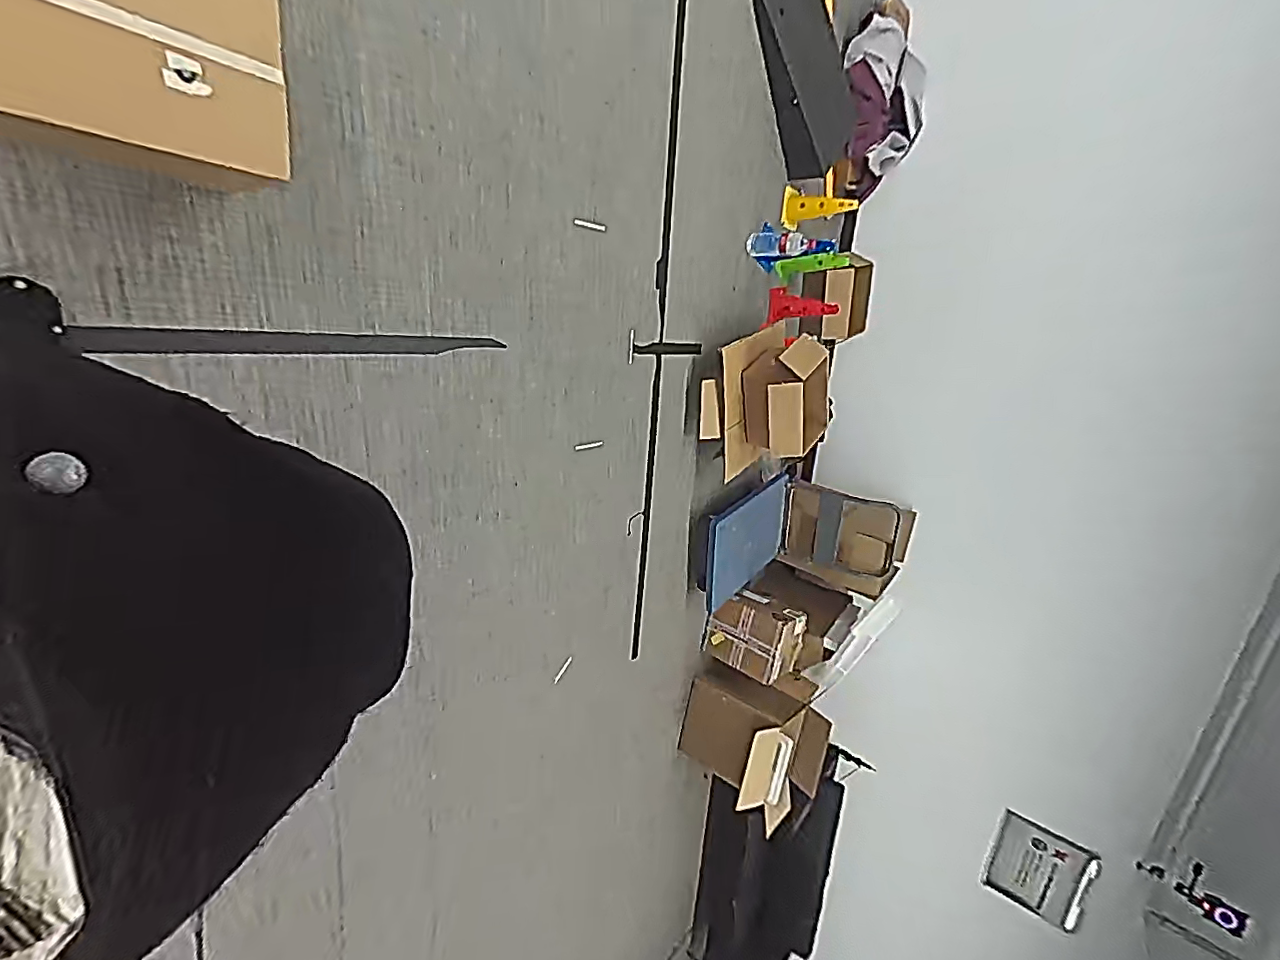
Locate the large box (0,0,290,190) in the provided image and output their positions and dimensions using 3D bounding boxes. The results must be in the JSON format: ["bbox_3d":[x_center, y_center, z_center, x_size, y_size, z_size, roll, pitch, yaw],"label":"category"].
[{"bbox_3d":[-0.844,-0.682,0.847,0.408,0.320,0.320,-14,115,-51],"label":"large box"}]
